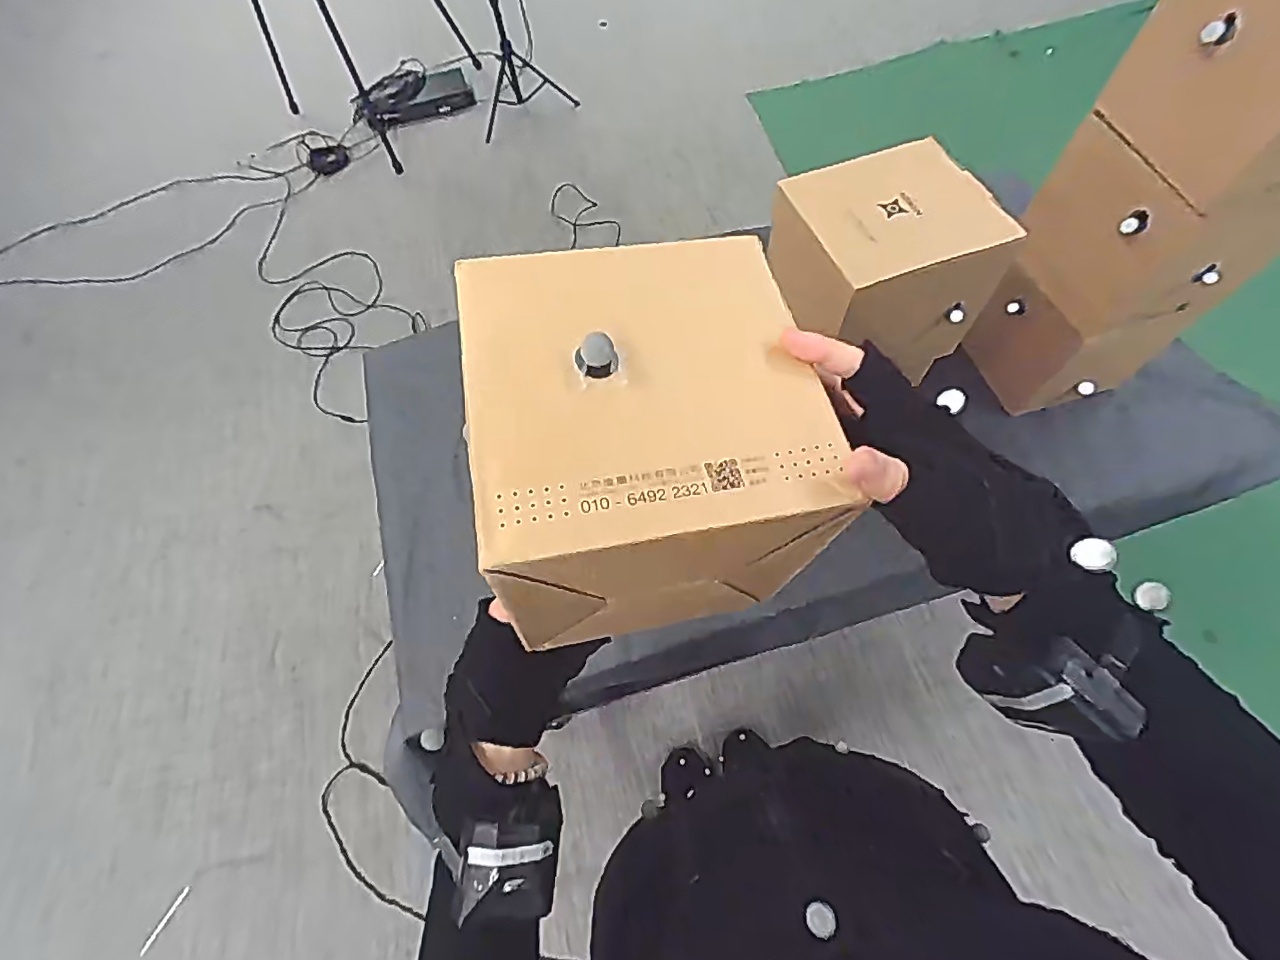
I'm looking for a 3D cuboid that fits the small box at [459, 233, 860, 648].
[{"bbox_3d":[0.000,-0.013,0.326,0.168,0.179,0.176,-10,63,-9],"label":"small box"}]

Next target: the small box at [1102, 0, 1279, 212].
[{"bbox_3d":[0.555,-0.362,0.452,0.168,0.176,0.179,-13,63,0],"label":"small box"}]

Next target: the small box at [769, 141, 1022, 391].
[{"bbox_3d":[0.256,-0.227,0.599,0.179,0.176,0.168,-18,63,-4],"label":"small box"}]

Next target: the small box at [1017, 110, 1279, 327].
[{"bbox_3d":[0.570,-0.292,0.600,0.168,0.176,0.179,-14,63,-1],"label":"small box"}]
